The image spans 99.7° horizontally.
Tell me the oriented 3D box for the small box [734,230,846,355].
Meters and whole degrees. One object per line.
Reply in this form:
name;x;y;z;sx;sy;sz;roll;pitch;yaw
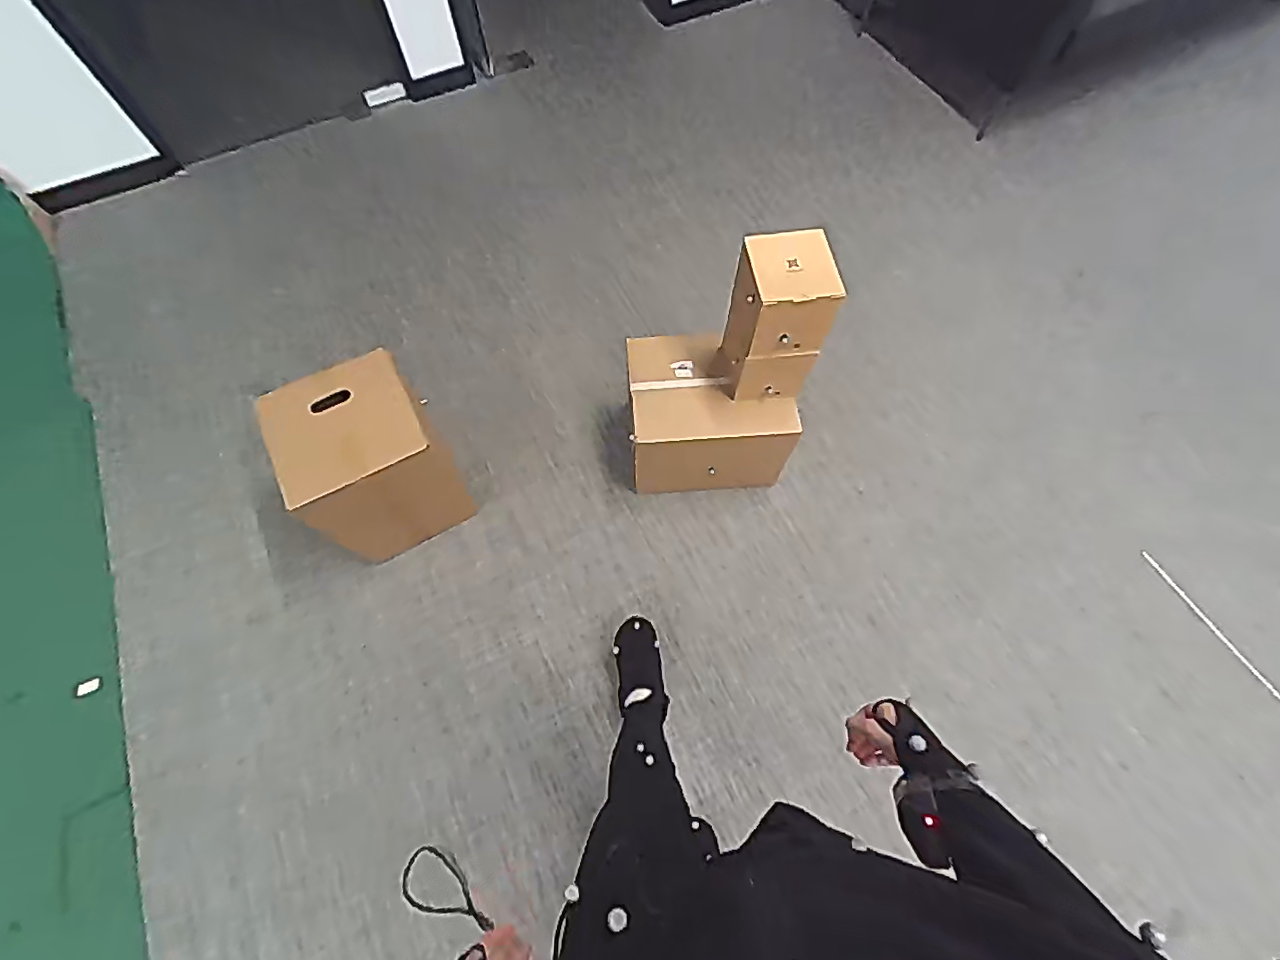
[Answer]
small box;0.299;-0.385;1.124;0.168;0.176;0.179;-7;66;-3
